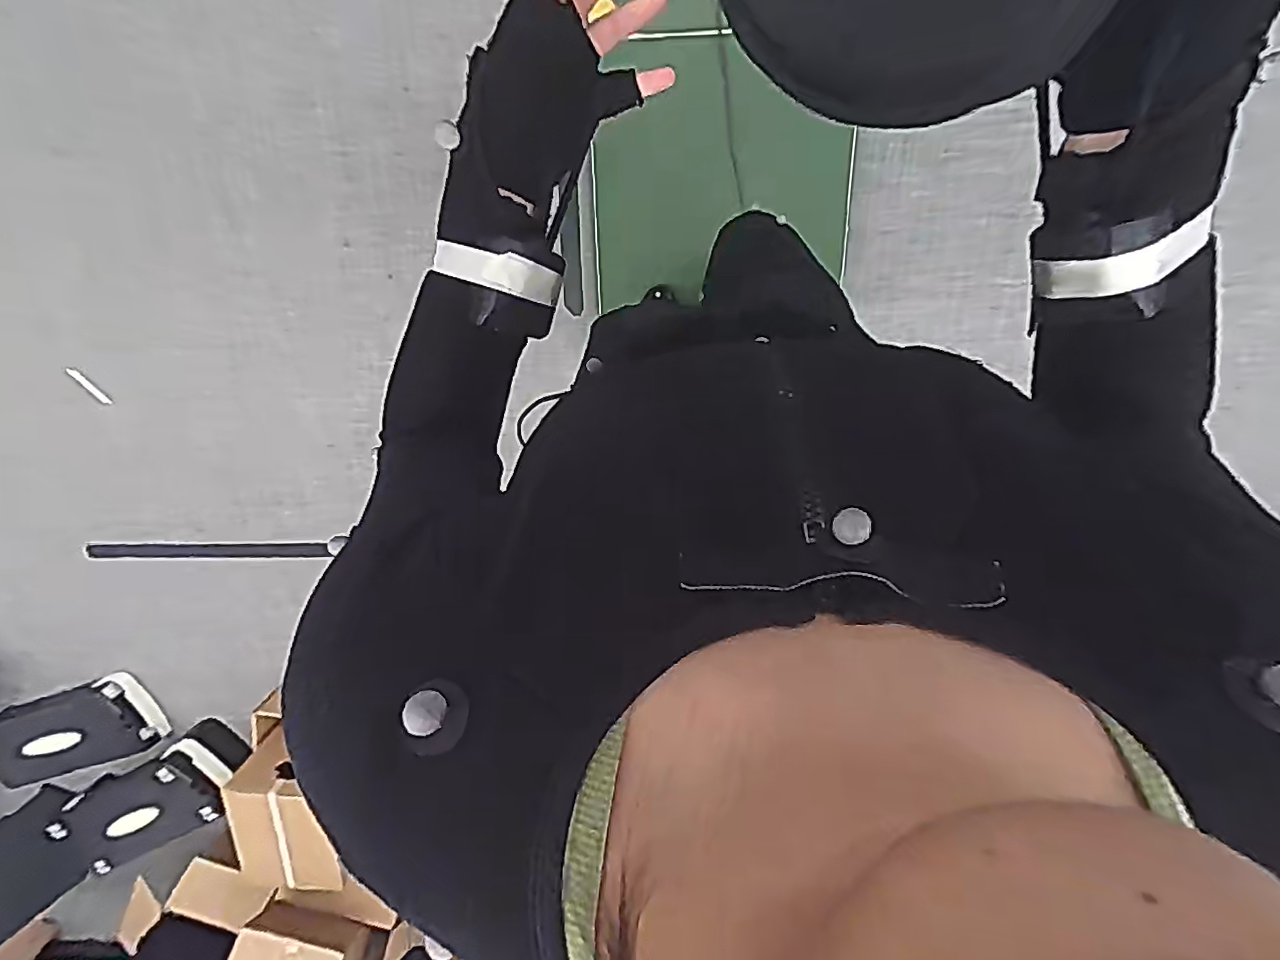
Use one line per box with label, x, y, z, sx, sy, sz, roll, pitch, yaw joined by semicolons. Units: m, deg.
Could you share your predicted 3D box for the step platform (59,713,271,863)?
step platform;-1.713;1.117;1.952;0.684;0.204;0.286;-29;106;11
